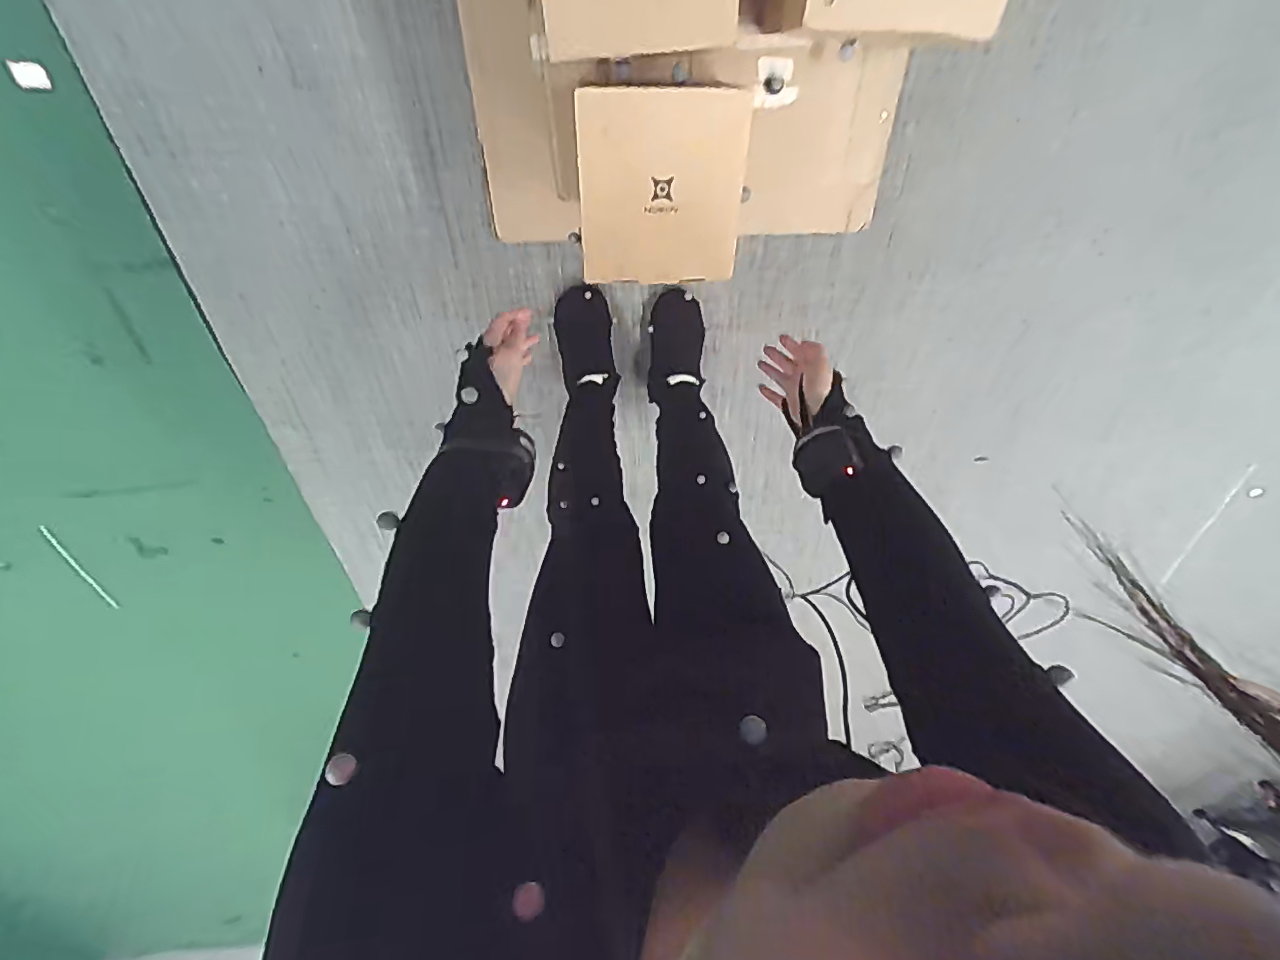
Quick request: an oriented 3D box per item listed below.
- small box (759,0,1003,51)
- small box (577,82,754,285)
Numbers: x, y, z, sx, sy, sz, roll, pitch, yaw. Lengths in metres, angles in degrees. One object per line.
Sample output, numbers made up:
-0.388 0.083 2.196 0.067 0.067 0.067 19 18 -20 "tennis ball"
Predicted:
0.224 -0.500 0.489 0.179 0.176 0.168 0 127 -4 "small box"
0.016 -0.333 0.602 0.168 0.176 0.179 -3 129 -4 "small box"
